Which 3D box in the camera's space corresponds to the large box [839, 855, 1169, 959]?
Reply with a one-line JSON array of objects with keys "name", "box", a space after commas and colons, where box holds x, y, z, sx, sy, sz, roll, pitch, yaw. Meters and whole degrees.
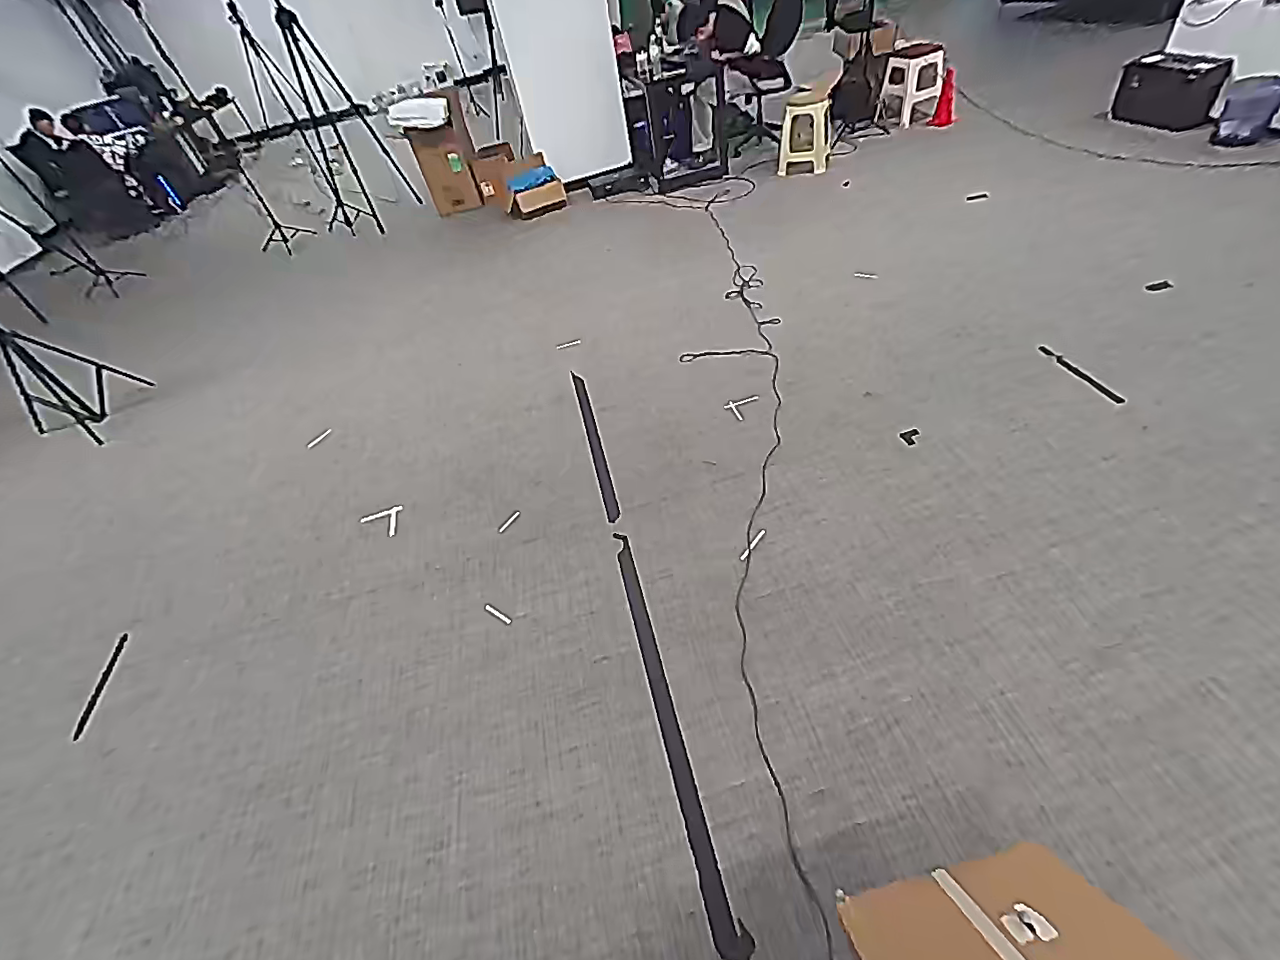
[{"name": "large box", "box": [0.475, 0.711, 0.579, 0.320, 0.408, 0.320, -14, 83, -1]}]
